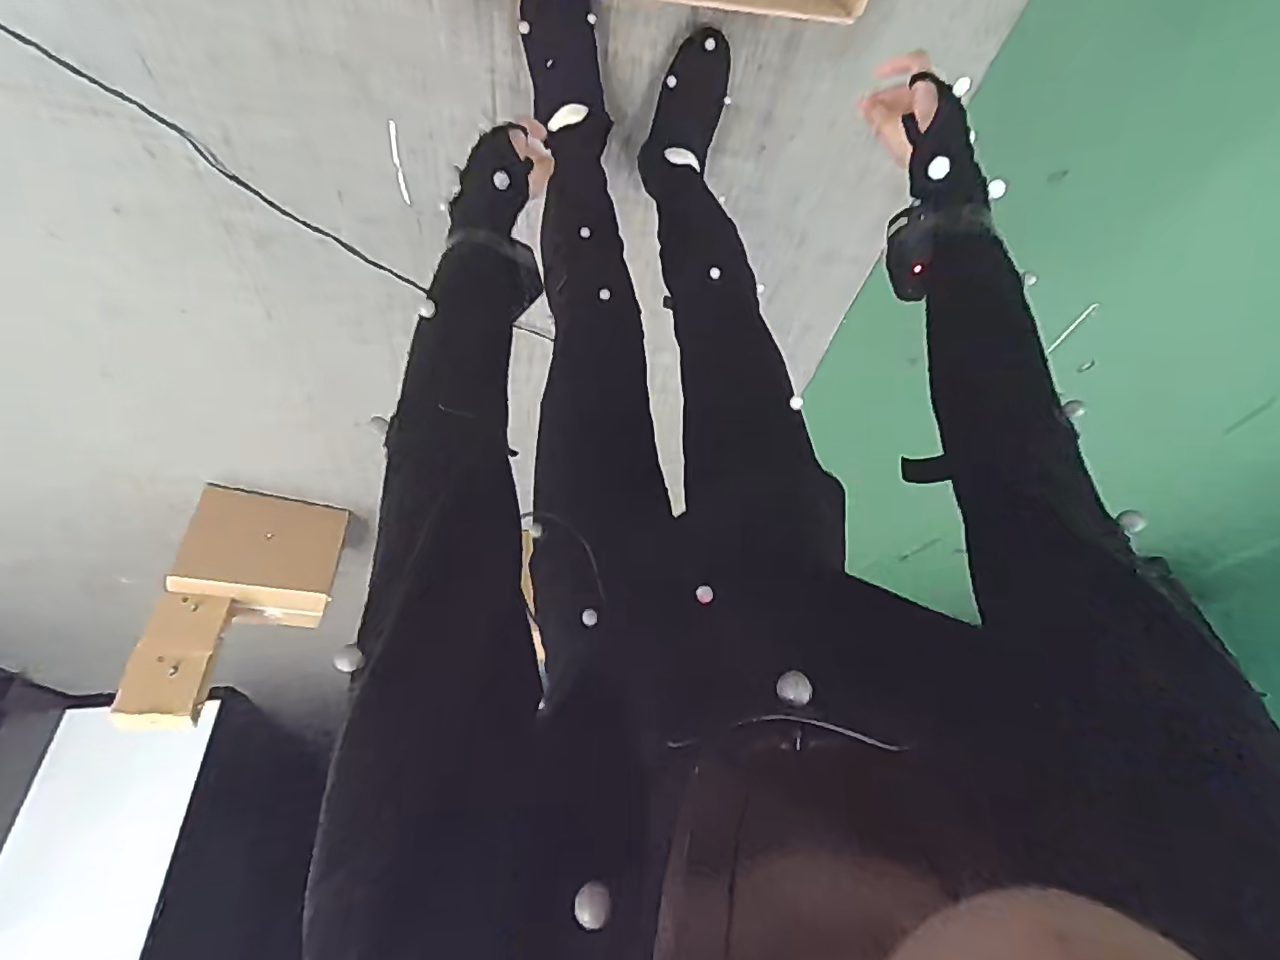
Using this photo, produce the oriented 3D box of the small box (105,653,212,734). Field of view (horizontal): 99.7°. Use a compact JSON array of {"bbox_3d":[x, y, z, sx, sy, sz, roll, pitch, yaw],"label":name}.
[{"bbox_3d":[-1.296,0.584,1.471,0.168,0.176,0.179,13,141,-26],"label":"small box"}]
